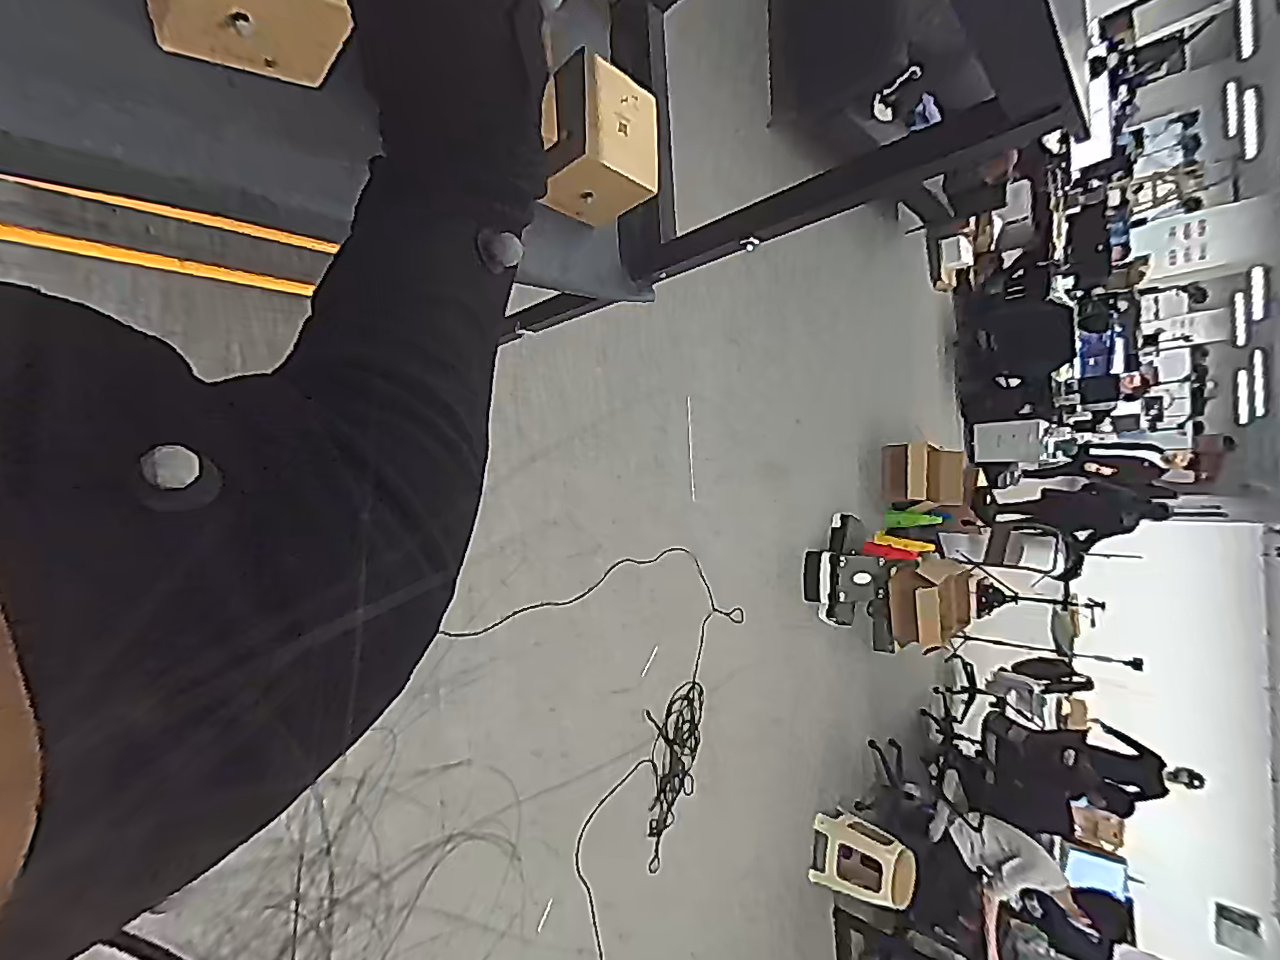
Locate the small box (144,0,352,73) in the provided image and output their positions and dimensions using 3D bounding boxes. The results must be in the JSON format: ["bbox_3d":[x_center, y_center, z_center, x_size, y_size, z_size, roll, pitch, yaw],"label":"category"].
[{"bbox_3d":[-0.442,-0.593,0.586,0.168,0.176,0.179,-19,103,-45],"label":"small box"}]
